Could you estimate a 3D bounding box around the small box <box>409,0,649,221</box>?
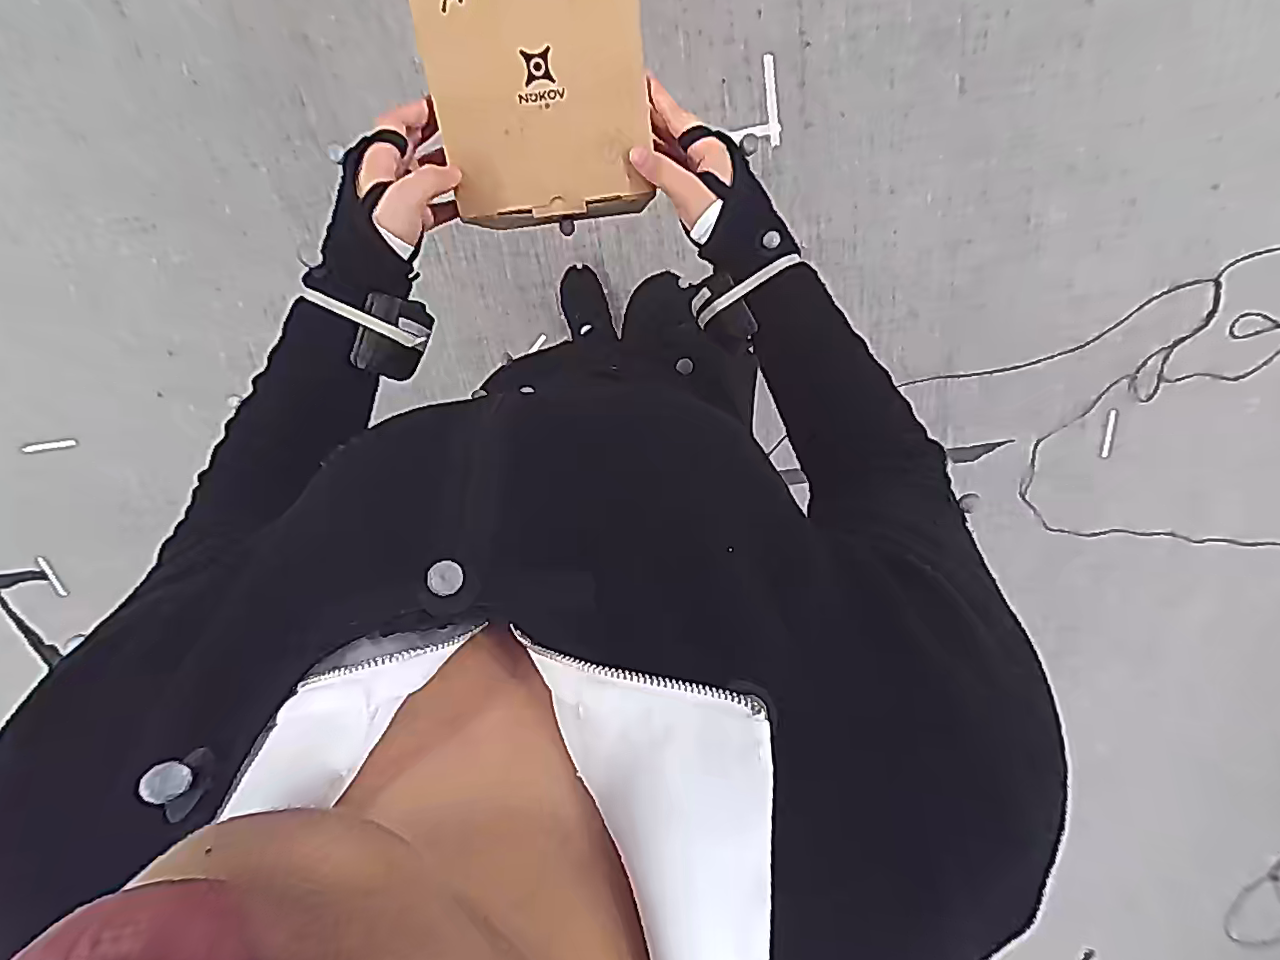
[{"bbox_3d":[-0.083,-0.335,0.484,0.168,0.176,0.179,-7,113,0],"label":"small box"}]
